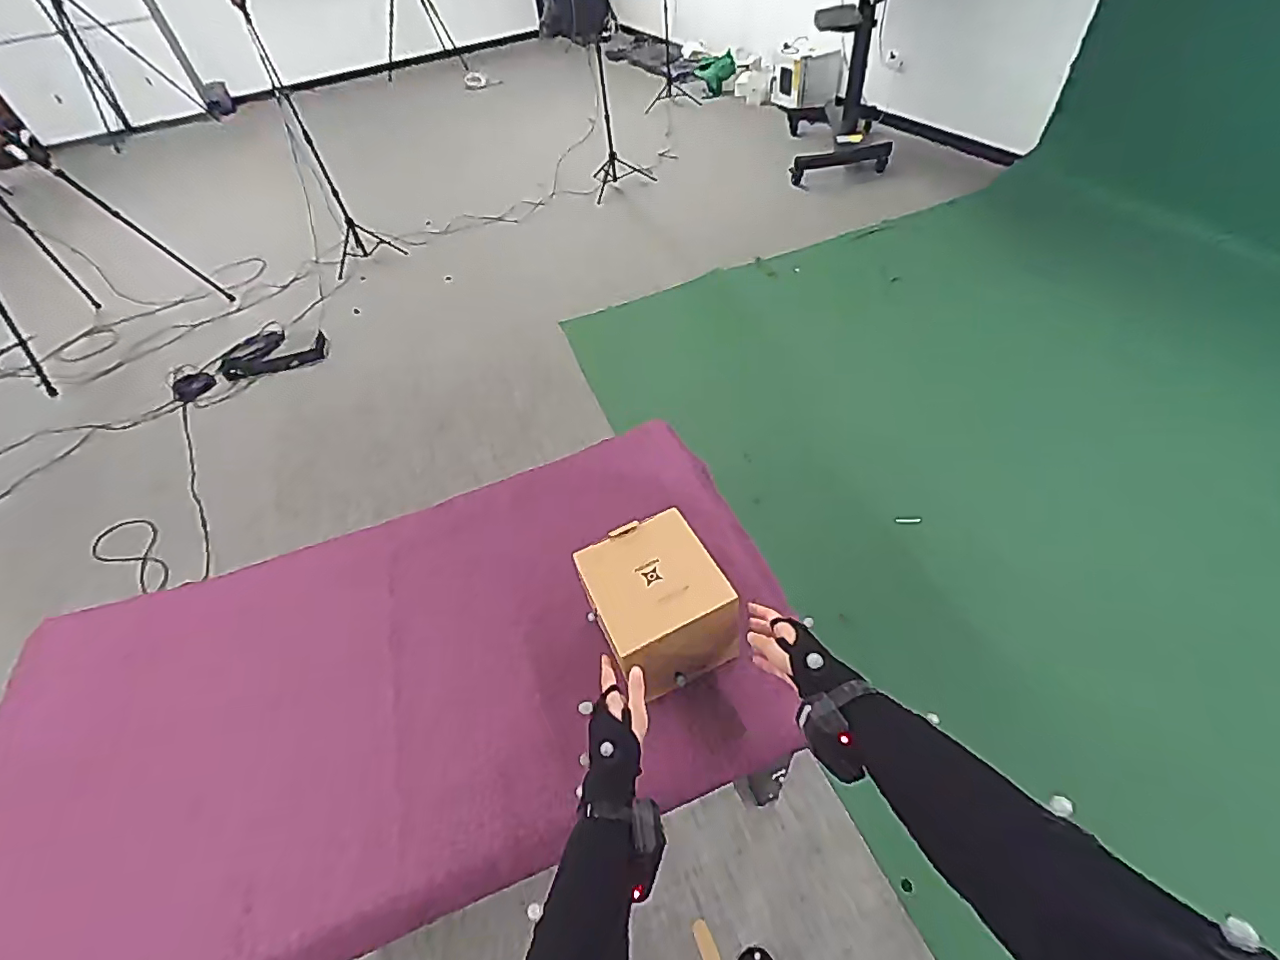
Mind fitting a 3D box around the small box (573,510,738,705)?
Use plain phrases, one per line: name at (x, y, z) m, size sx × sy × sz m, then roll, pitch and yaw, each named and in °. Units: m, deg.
small box at (0.023, 0.180, 0.763) m, size 0.168 × 0.176 × 0.179 m, roll -24°, pitch 48°, yaw -11°
